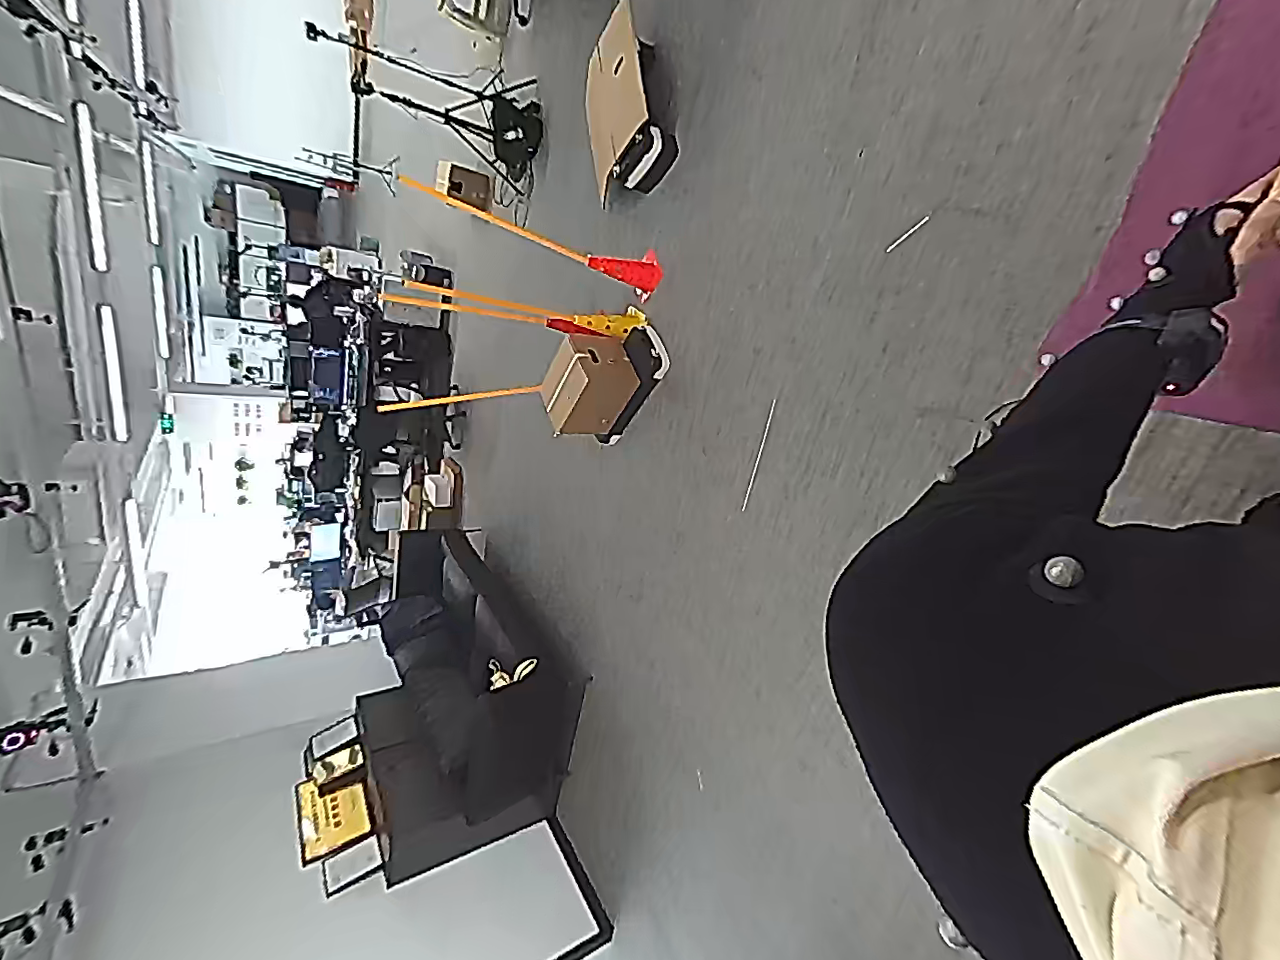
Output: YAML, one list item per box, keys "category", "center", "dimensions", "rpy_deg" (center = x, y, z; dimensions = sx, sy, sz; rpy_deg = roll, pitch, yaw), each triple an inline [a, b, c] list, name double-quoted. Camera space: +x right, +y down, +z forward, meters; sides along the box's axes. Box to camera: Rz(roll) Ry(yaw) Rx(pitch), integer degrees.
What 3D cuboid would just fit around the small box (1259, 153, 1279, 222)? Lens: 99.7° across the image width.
- category: "small box"
  center: [0.706, -0.316, 0.468]
  dimensions: [0.168, 0.176, 0.179]
  rpy_deg: [31, 115, 49]
